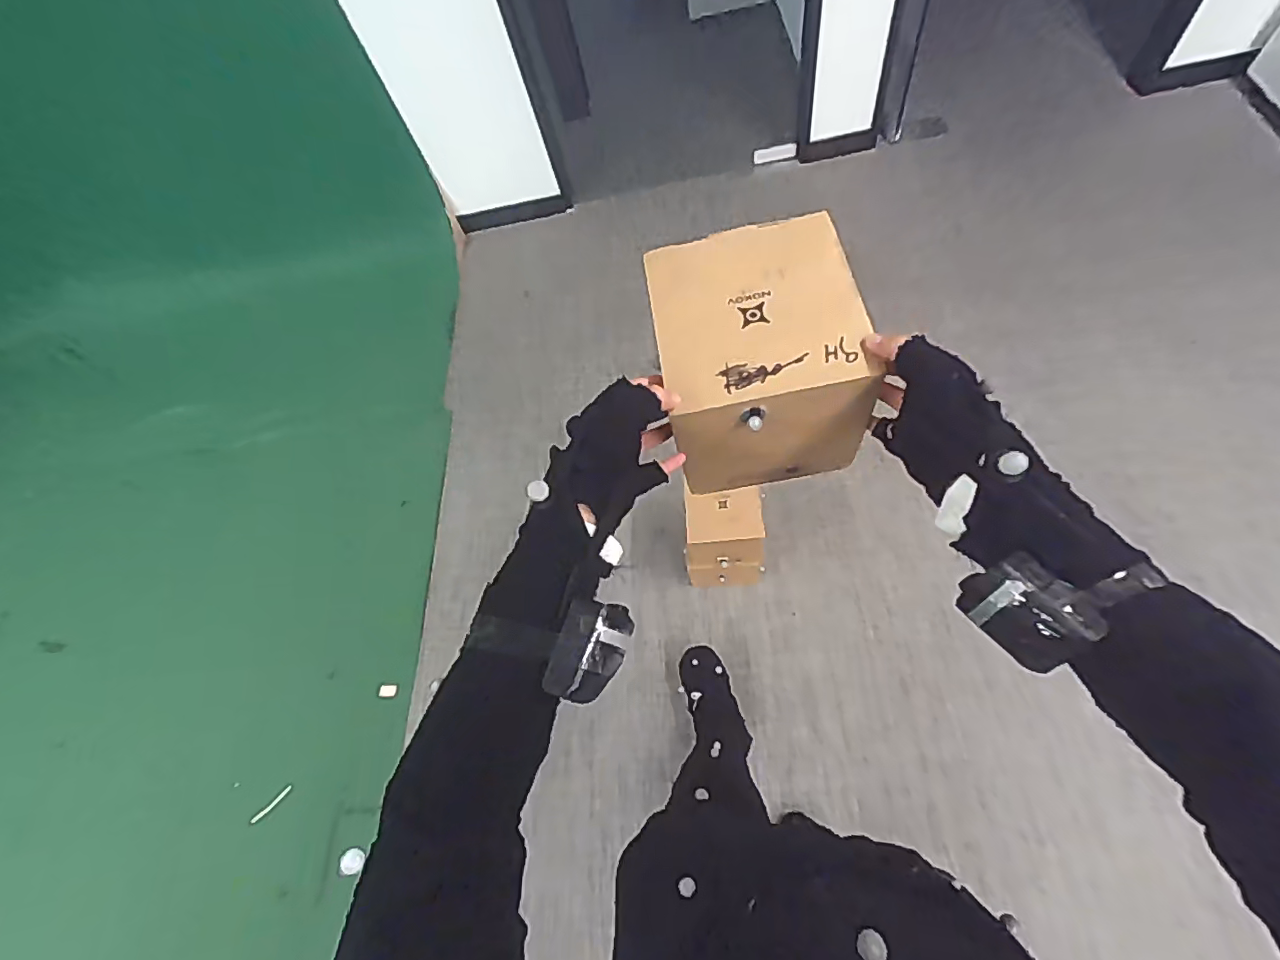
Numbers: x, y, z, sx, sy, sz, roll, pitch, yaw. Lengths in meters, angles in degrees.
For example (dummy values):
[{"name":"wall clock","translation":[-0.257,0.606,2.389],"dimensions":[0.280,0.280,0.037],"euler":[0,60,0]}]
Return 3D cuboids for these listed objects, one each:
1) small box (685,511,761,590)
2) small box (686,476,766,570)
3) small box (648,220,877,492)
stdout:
[{"name":"small box","translation":[0.215,0.179,1.394],"dimensions":[0.179,0.176,0.168],"euler":[-6,61,10]},{"name":"small box","translation":[0.200,0.096,1.256],"dimensions":[0.168,0.176,0.179],"euler":[-7,62,10]},{"name":"small box","translation":[0.109,-0.110,0.528],"dimensions":[0.168,0.176,0.179],"euler":[-11,63,8]}]
